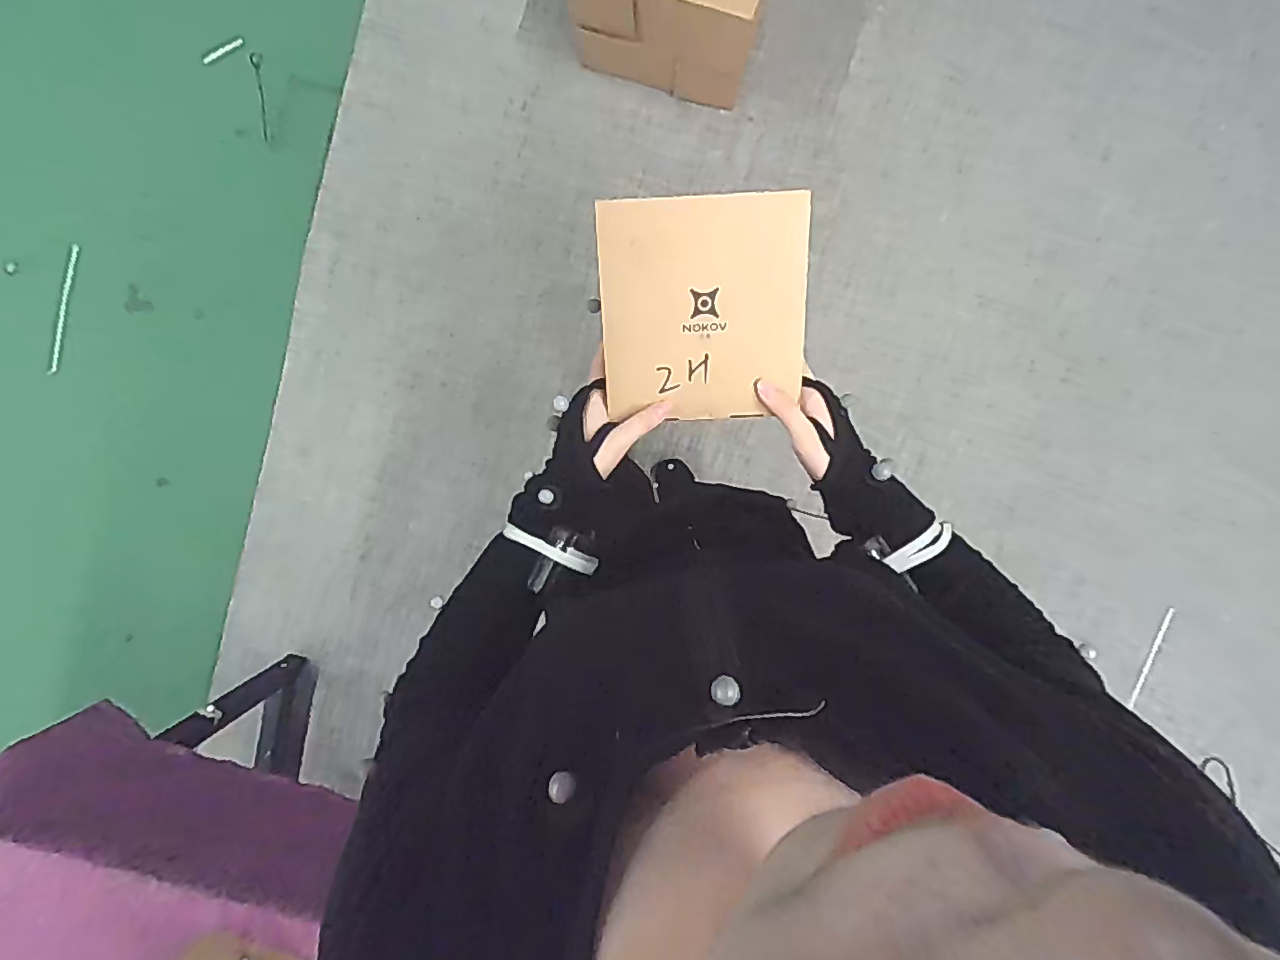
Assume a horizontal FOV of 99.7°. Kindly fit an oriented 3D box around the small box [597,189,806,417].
[{"bbox_3d":[0.048,-0.163,0.516,0.168,0.176,0.179,-2,109,1],"label":"small box"}]

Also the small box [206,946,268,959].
[{"bbox_3d":[-0.621,0.839,0.786,0.179,0.176,0.168,16,97,2],"label":"small box"}]
